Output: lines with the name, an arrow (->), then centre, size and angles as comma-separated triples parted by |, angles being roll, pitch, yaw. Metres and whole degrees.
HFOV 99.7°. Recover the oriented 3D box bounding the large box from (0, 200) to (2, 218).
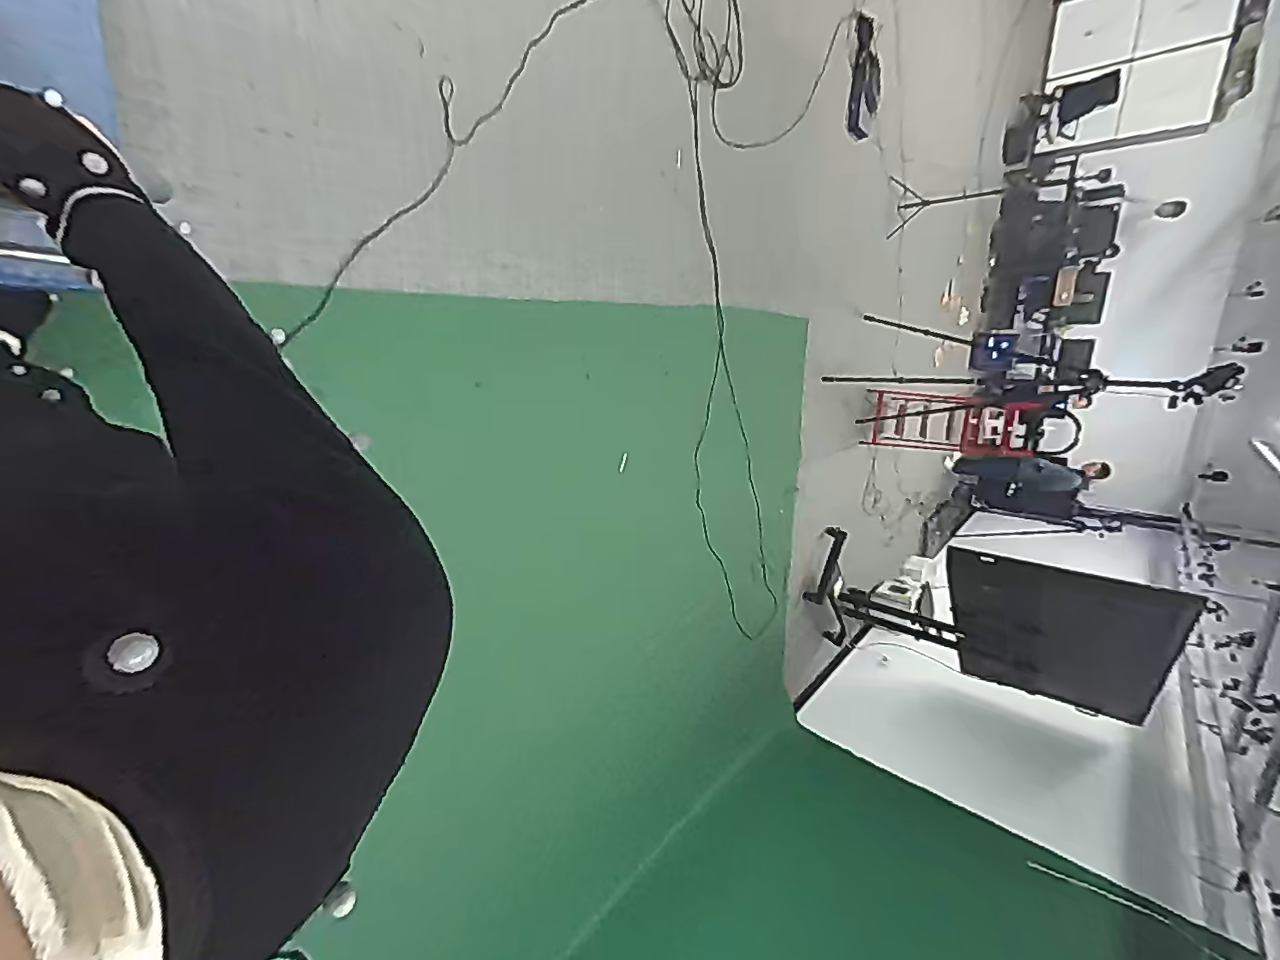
large box -> -1.057, -0.583, 0.658 | 0.320, 0.320, 0.408 | -10, 105, -48
